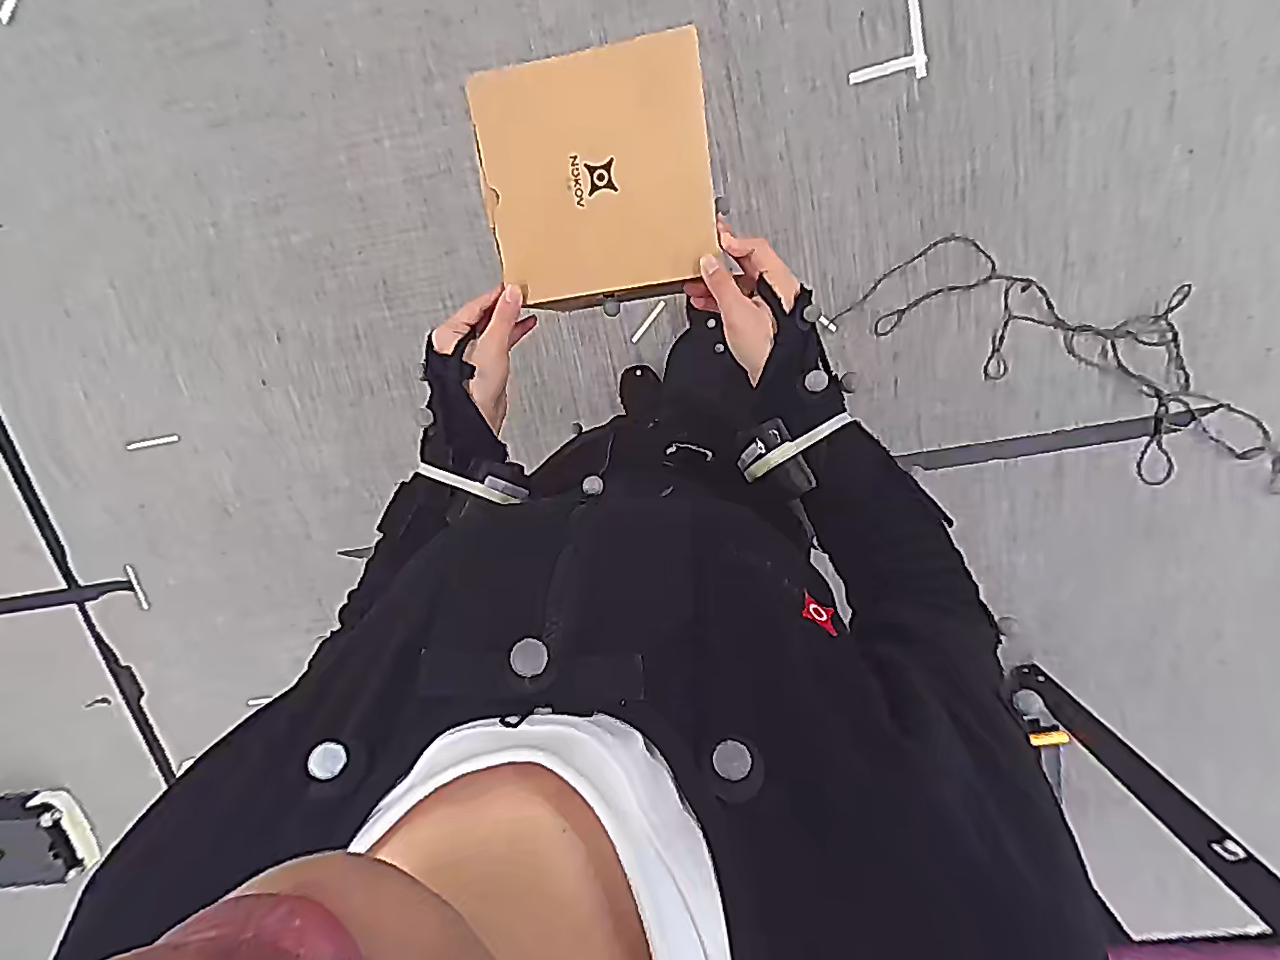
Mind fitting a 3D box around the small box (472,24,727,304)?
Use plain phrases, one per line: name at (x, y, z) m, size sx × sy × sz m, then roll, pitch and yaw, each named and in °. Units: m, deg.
small box at (-0.020, -0.253, 0.481) m, size 0.179 × 0.176 × 0.168 m, roll -5°, pitch 106°, yaw 9°
